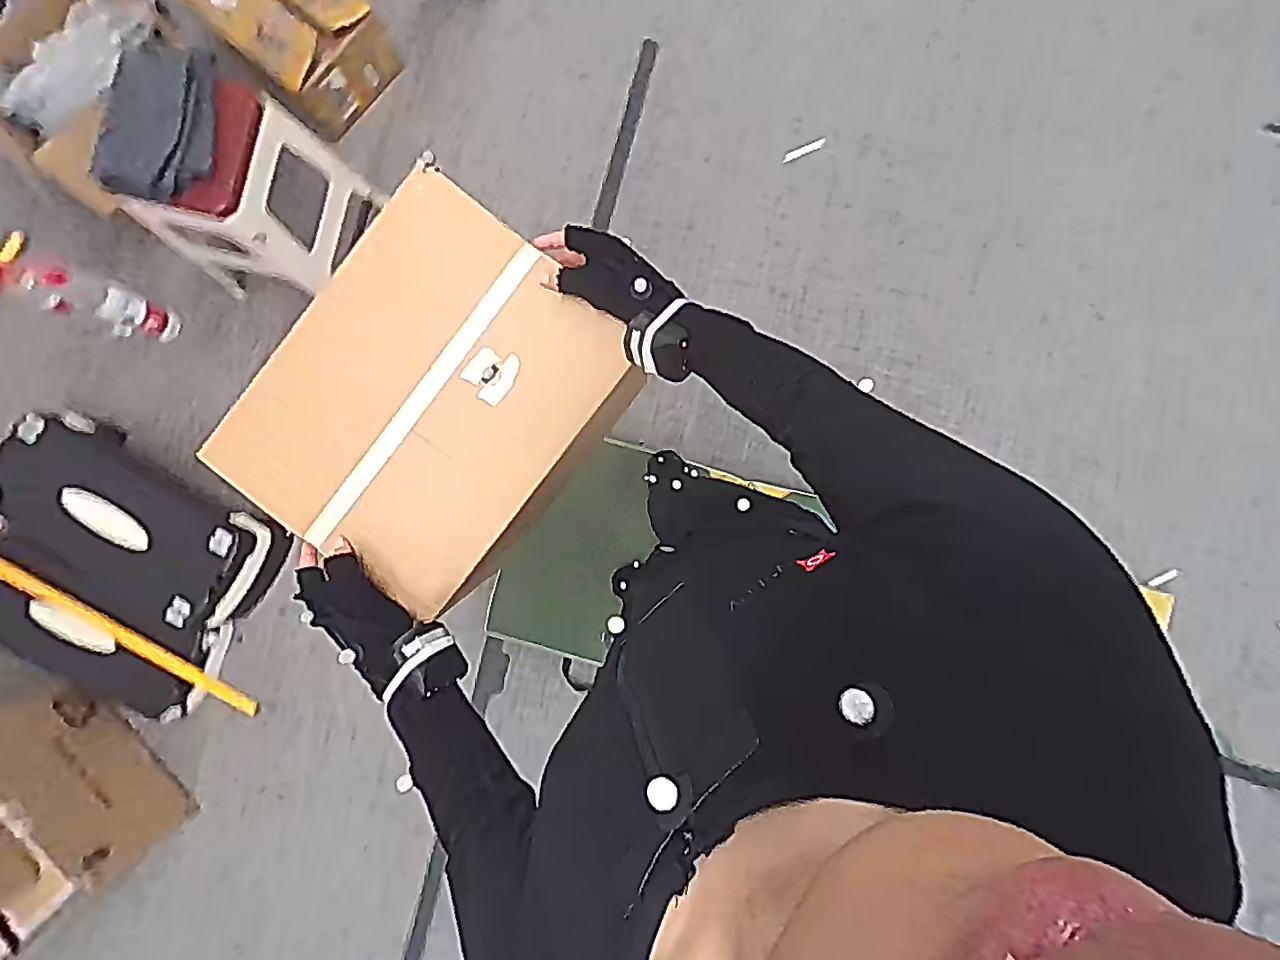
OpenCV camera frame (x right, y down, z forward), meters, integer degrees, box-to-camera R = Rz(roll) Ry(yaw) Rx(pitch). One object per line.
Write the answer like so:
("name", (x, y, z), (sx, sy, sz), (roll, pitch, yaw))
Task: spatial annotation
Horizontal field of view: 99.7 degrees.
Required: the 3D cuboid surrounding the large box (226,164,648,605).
("large box", (-0.228, -0.105, 0.751), (0.320, 0.320, 0.408), (38, 90, -1))
